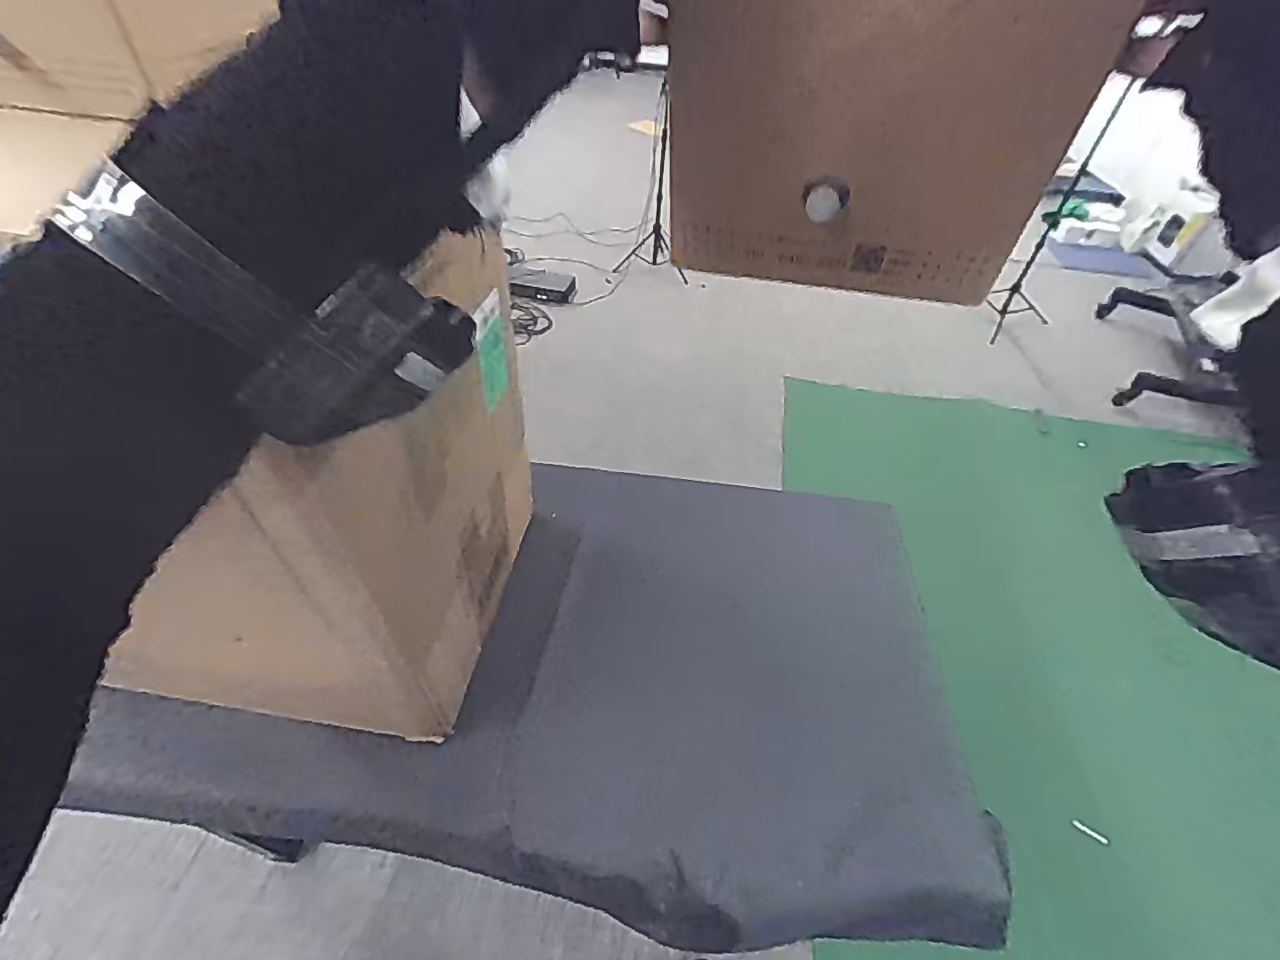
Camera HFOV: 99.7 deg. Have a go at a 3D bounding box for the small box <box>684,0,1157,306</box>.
[{"bbox_3d":[0.118,-0.218,0.270,0.168,0.176,0.179,12,58,13],"label":"small box"}]
